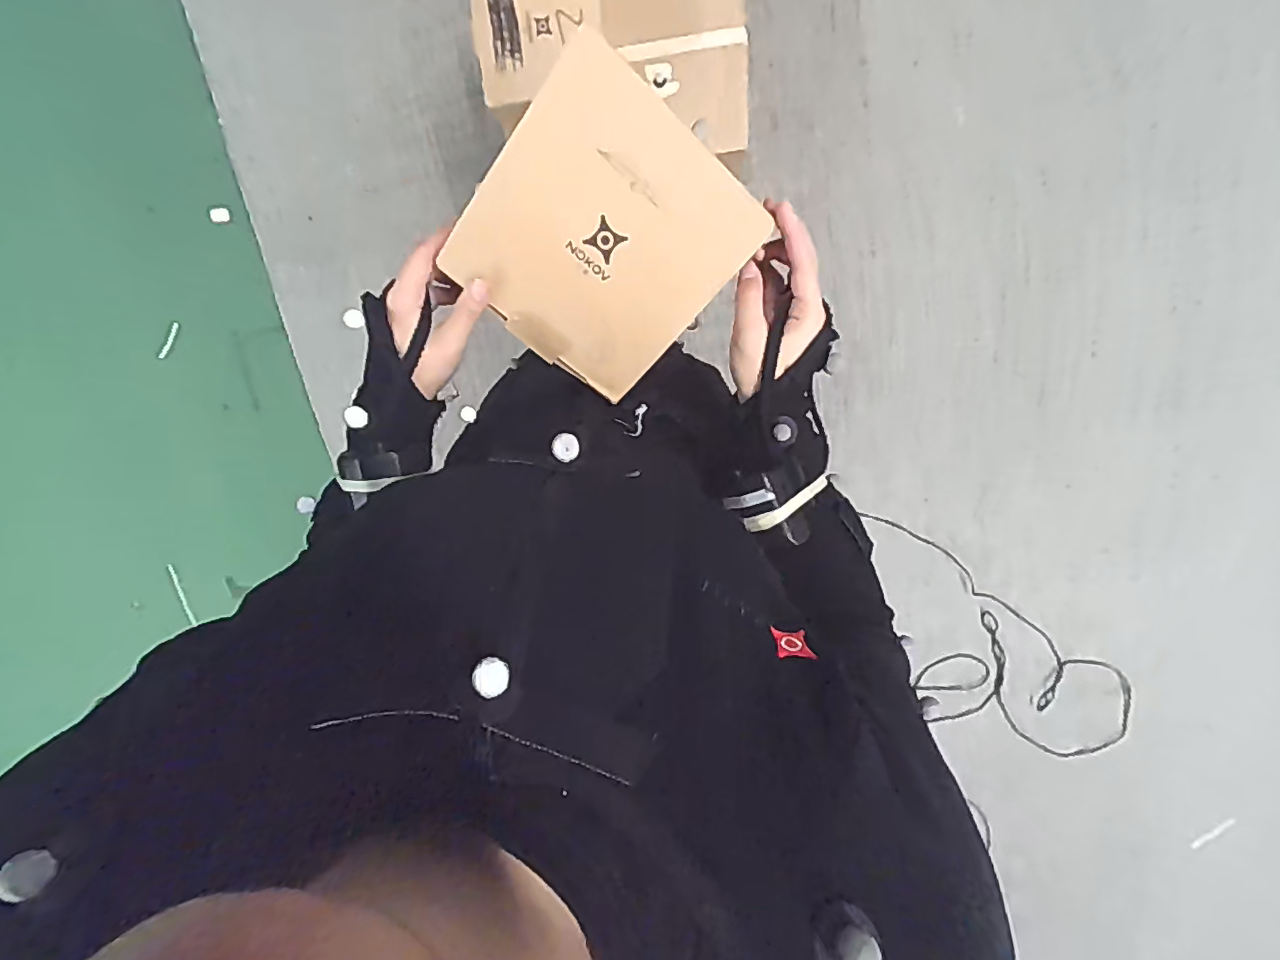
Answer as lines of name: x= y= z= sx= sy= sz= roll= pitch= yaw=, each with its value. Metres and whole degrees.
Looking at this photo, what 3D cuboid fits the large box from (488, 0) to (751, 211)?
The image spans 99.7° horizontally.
large box: x=-0.020 y=-0.715 z=0.999 sx=0.408 sy=0.320 sz=0.320 roll=-4 pitch=108 yaw=7
